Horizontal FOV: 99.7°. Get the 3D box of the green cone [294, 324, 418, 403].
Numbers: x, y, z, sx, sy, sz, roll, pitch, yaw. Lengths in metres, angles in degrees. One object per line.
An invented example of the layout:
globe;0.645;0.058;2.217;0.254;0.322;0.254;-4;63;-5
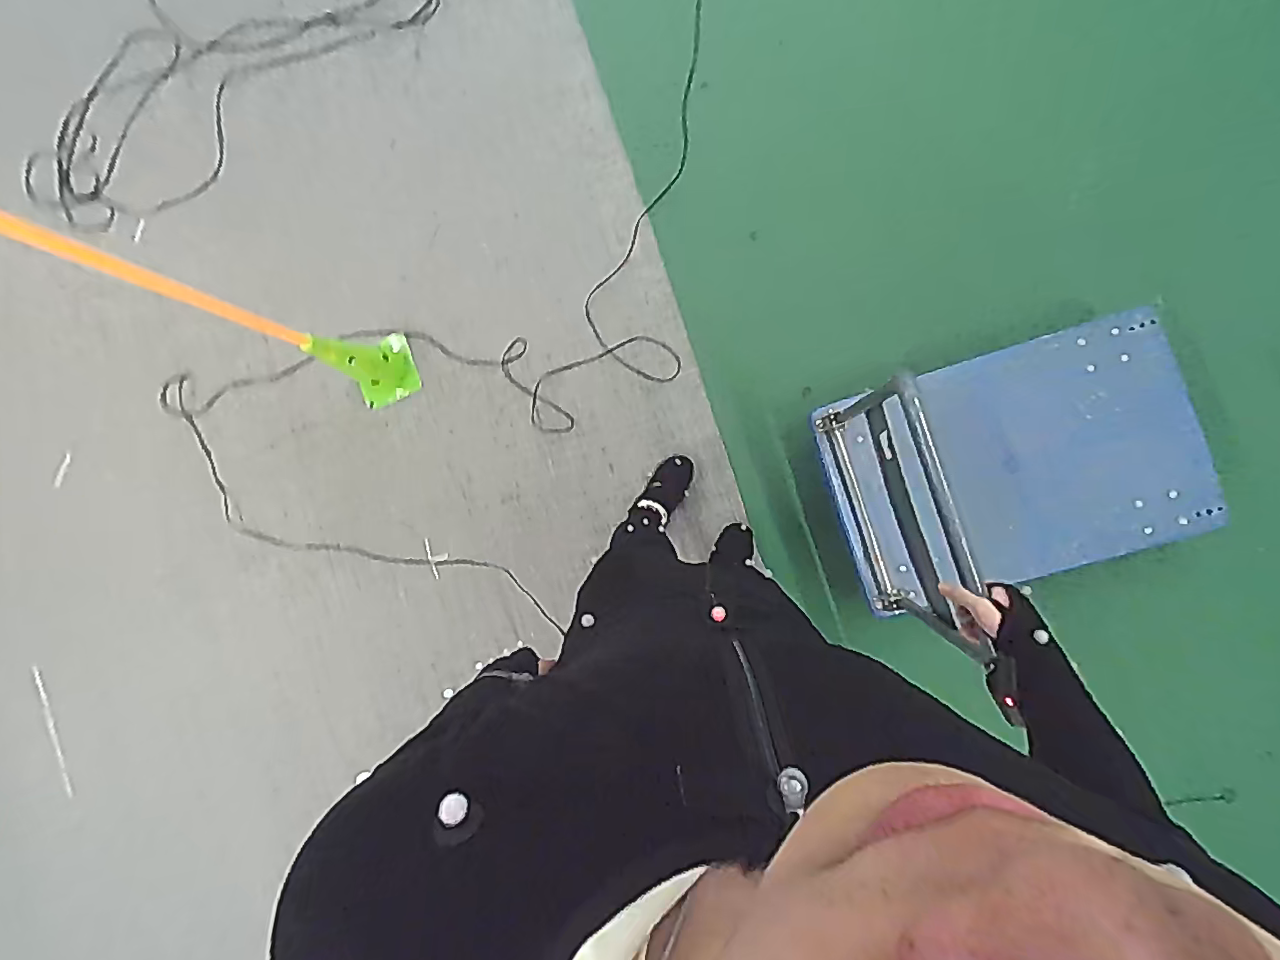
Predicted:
green cone;-0.847;-0.373;1.569;0.200;0.368;0.202;-22;85;6
